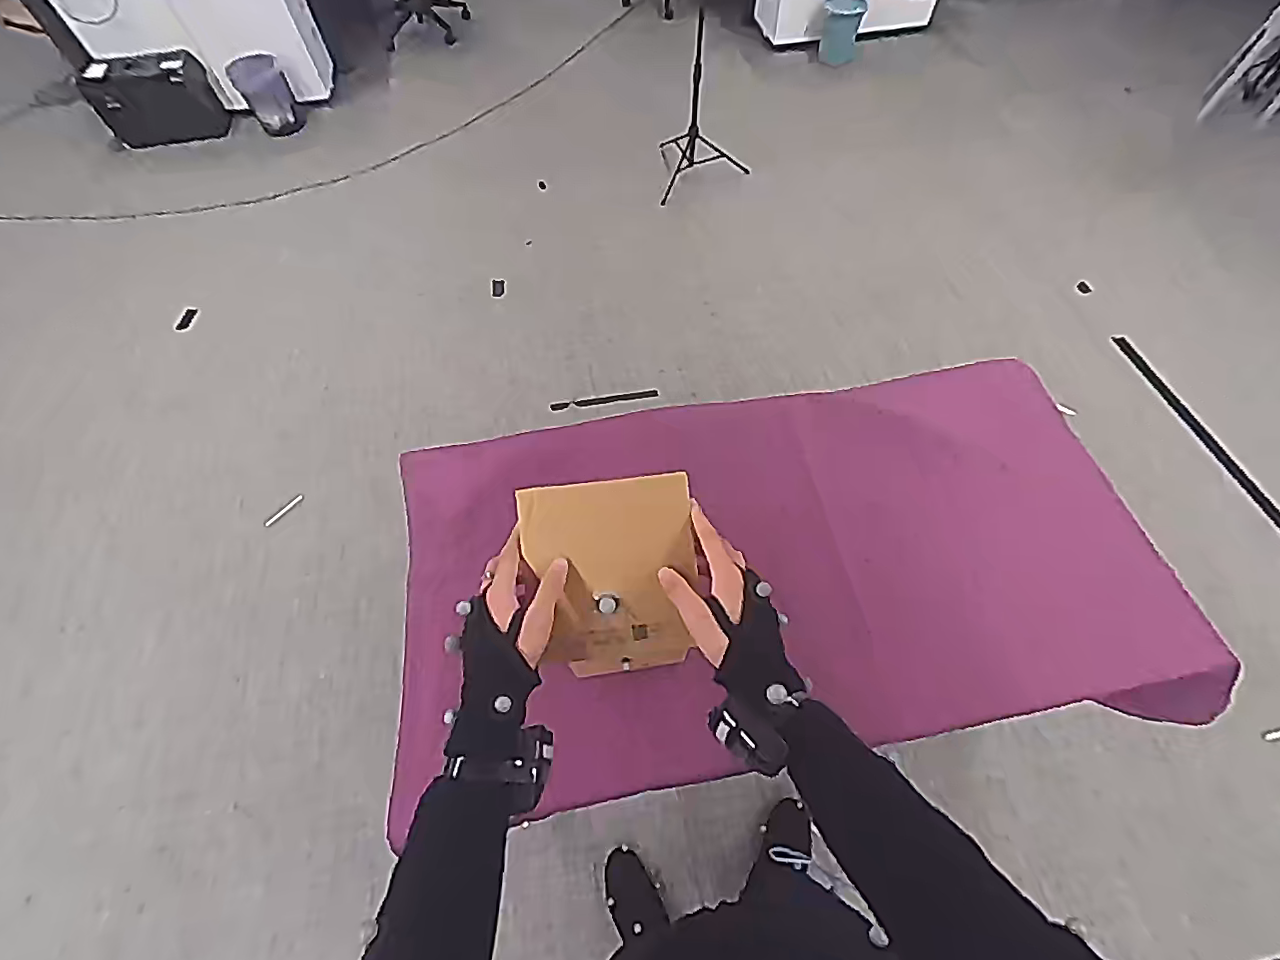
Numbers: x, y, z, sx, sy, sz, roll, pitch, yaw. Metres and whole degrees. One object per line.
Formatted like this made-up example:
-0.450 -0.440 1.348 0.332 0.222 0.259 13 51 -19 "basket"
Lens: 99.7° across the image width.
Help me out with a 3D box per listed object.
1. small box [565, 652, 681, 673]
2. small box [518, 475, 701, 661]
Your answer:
-0.029 0.175 0.790 0.168 0.176 0.179 -7 60 -4 "small box"
-0.033 0.090 0.593 0.168 0.179 0.176 -6 87 -4 "small box"
